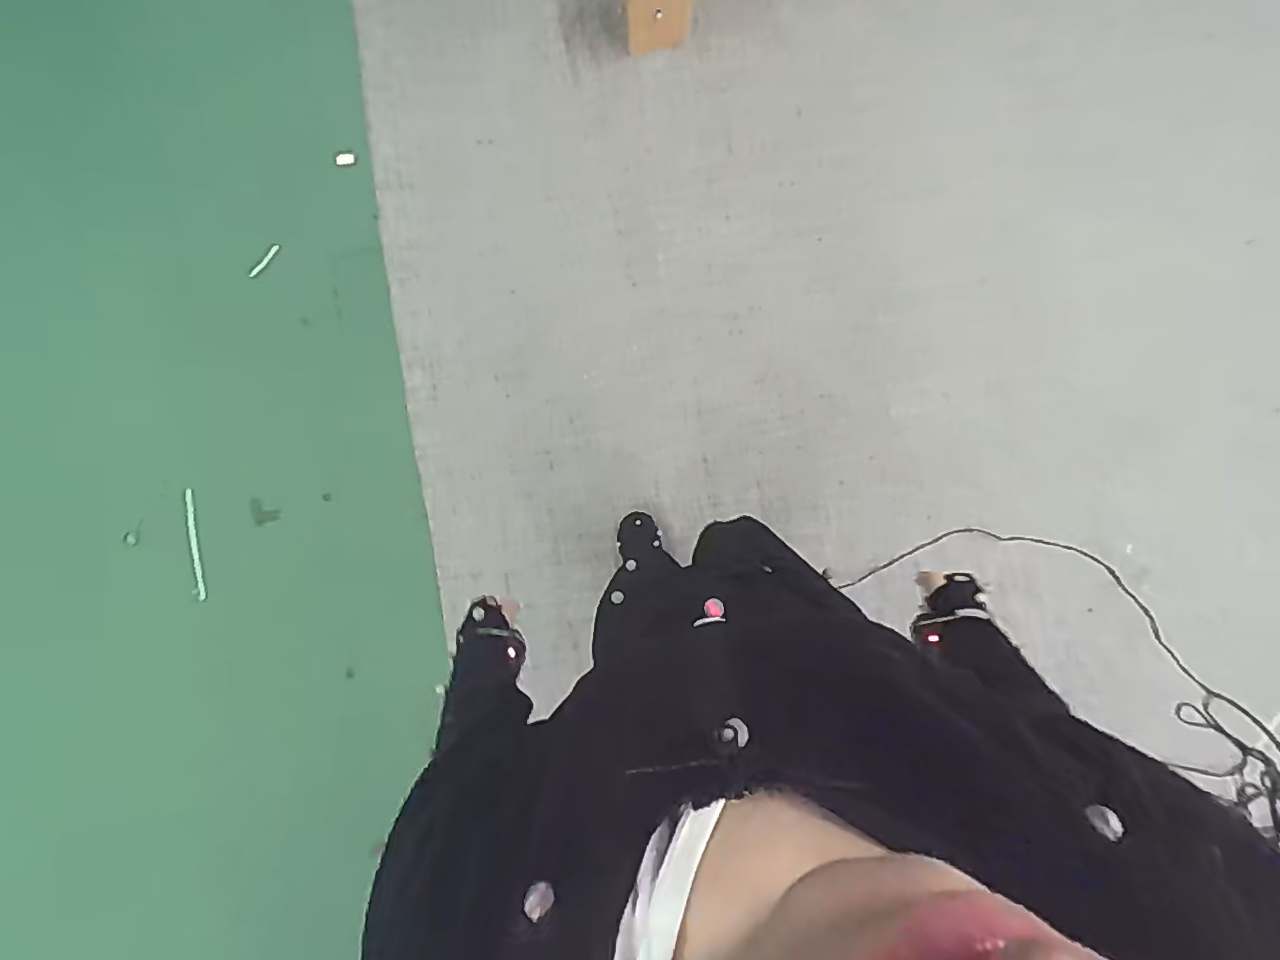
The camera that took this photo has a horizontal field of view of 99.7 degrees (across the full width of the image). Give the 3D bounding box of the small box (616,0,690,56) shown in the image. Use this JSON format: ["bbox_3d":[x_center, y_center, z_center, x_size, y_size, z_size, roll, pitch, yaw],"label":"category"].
[{"bbox_3d":[0.030,-1.315,1.476,0.179,0.176,0.168,-13,89,0],"label":"small box"}]

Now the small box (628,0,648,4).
[{"bbox_3d":[0.038,-1.318,1.311,0.179,0.176,0.168,-13,88,0],"label":"small box"}]
